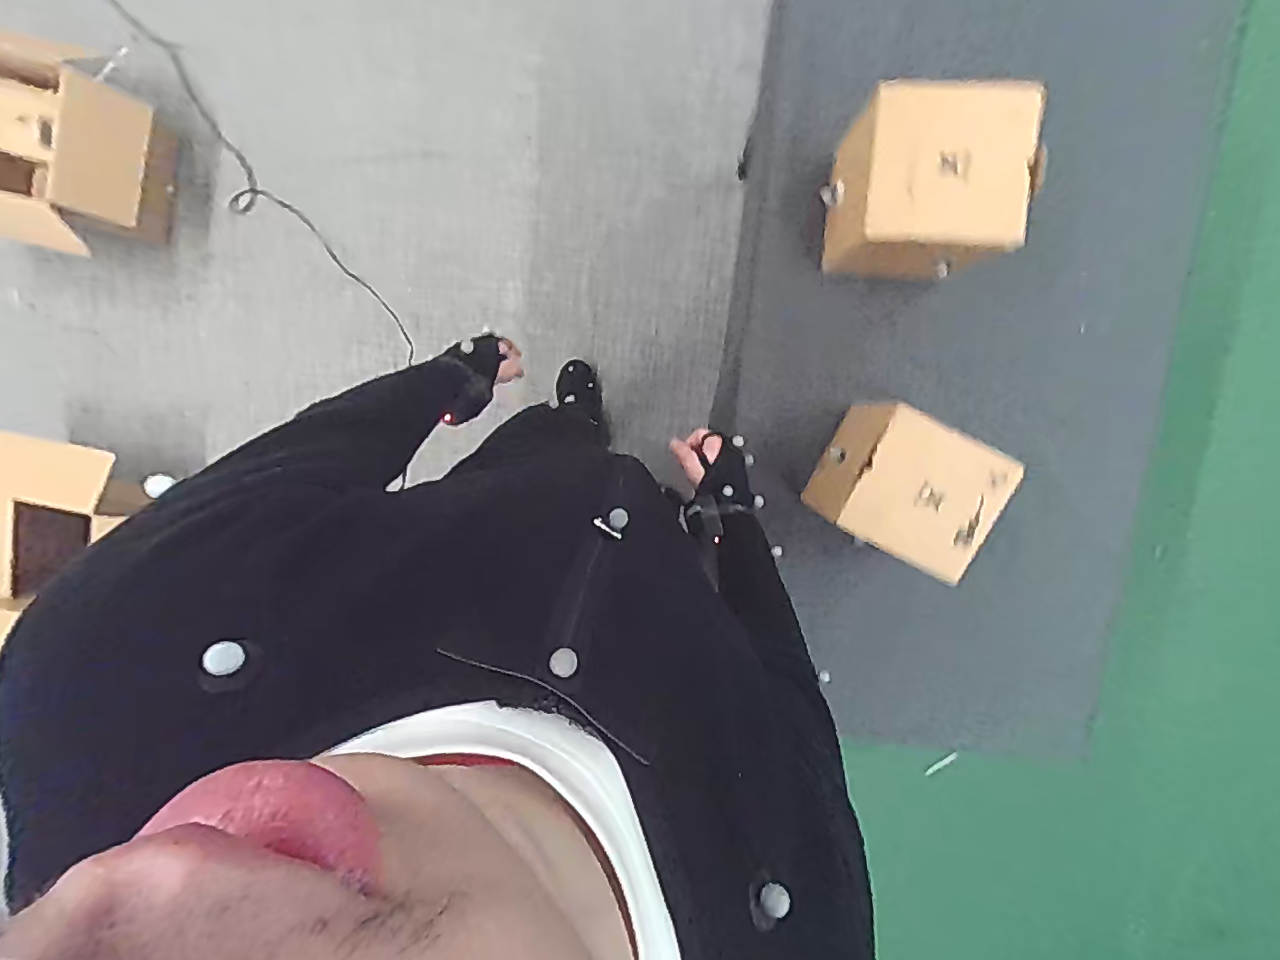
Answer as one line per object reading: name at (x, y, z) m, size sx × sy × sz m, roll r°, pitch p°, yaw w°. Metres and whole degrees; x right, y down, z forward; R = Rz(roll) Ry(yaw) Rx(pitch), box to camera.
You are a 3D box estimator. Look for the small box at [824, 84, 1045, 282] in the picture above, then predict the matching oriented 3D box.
small box at (0.351, -0.354, 0.677) m, size 0.179 × 0.176 × 0.168 m, roll 4°, pitch 97°, yaw 2°
